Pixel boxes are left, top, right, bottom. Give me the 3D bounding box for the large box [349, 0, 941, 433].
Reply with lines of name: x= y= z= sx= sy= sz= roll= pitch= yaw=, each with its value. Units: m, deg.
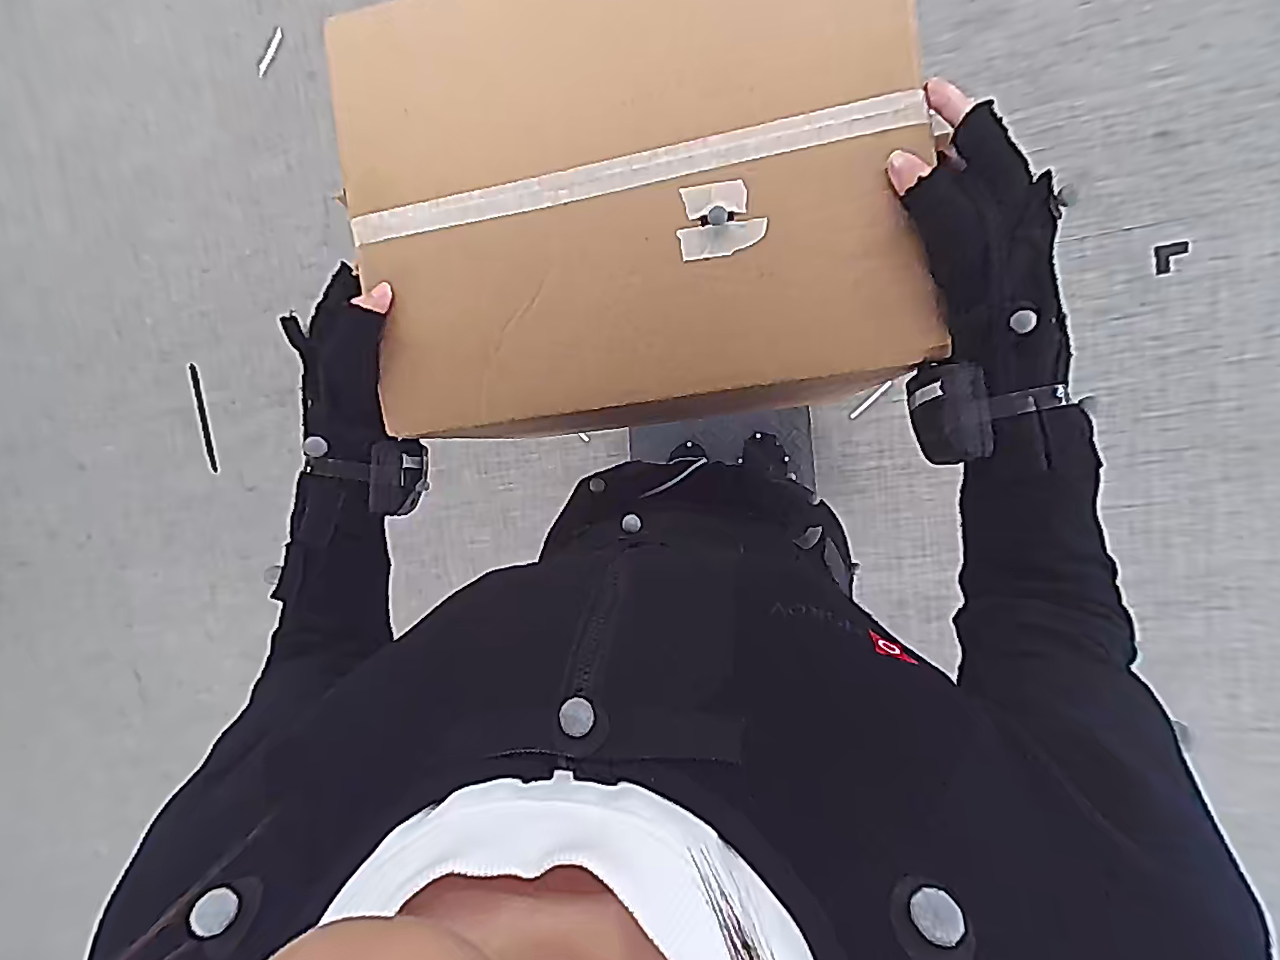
large box: x=0.011 y=-0.228 z=0.534 sx=0.408 sy=0.320 sz=0.320 roll=-7 pitch=94 yaw=9
